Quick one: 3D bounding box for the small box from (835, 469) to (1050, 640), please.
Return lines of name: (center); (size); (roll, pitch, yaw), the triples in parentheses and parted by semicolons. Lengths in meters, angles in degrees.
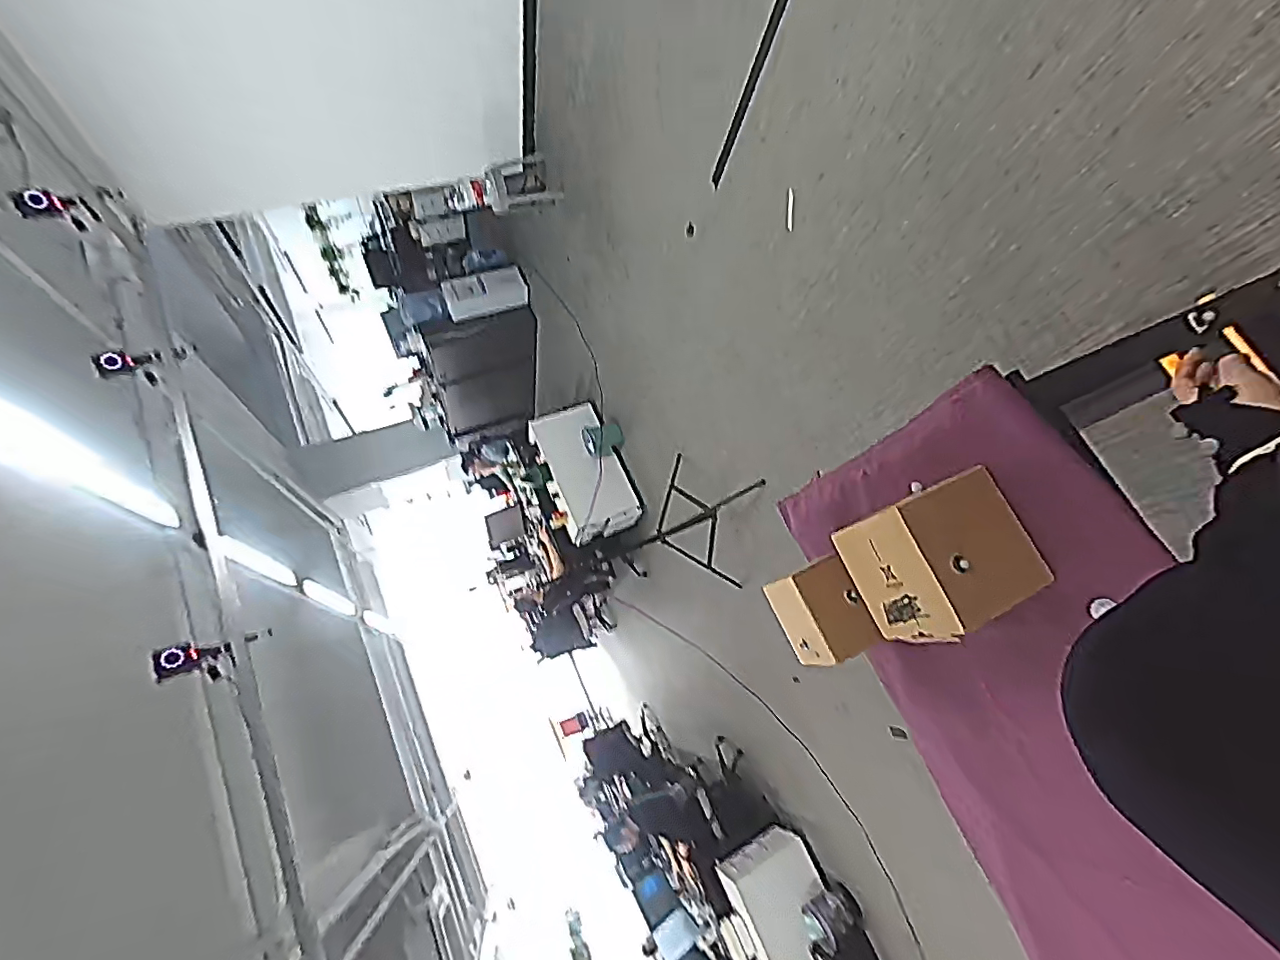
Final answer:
small box: (0.425, 0.109, 0.774); (0.179, 0.176, 0.168); (65, 162, 13)
